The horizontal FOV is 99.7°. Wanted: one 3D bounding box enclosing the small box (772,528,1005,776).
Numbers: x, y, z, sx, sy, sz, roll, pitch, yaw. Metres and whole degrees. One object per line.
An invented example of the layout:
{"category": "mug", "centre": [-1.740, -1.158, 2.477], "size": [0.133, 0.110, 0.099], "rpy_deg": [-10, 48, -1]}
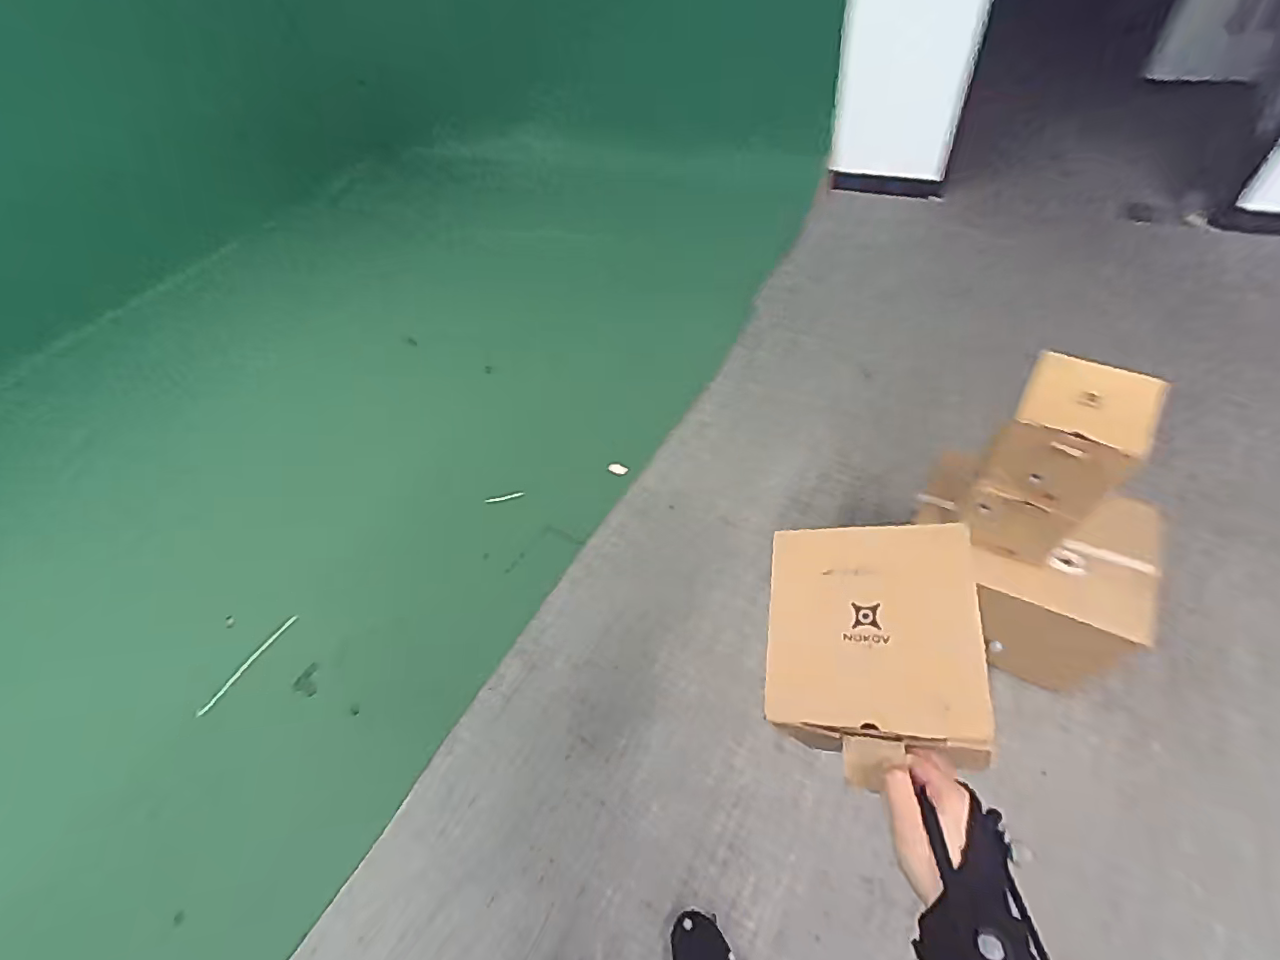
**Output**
{"category": "small box", "centre": [0.231, 0.161, 0.504], "size": [0.168, 0.176, 0.179], "rpy_deg": [-5, 56, 28]}

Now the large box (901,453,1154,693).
{"category": "large box", "centre": [0.787, 0.200, 1.189], "size": [0.408, 0.320, 0.320], "rpy_deg": [21, 61, 23]}

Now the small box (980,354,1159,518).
{"category": "small box", "centre": [0.697, -0.071, 0.895], "size": [0.168, 0.176, 0.179], "rpy_deg": [26, 62, 27]}
